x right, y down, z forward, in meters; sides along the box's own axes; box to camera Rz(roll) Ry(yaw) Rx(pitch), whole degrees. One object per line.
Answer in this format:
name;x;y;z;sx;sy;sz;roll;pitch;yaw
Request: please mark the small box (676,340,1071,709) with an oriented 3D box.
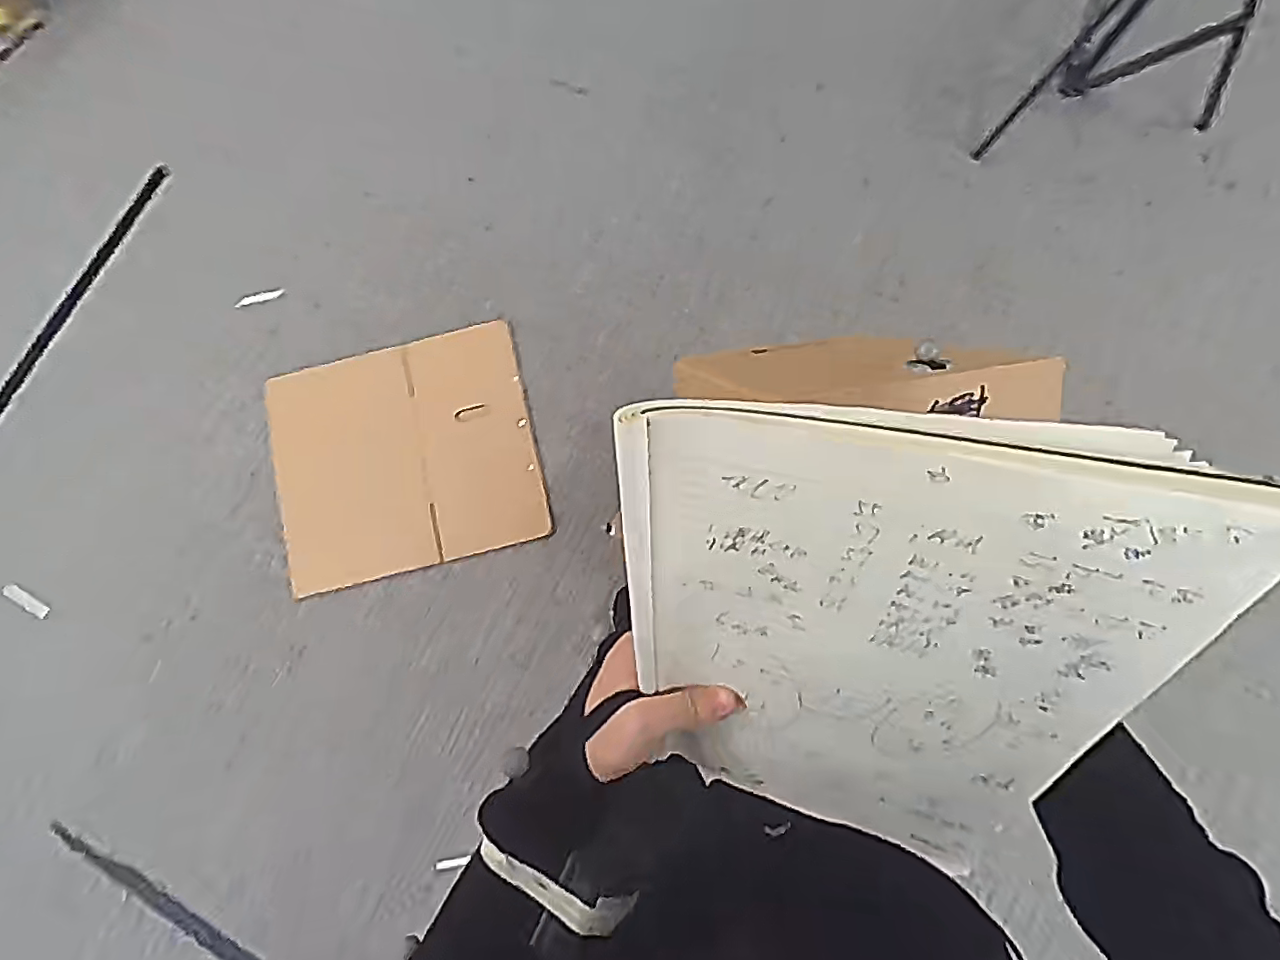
small box;0.127;0.011;0.361;0.168;0.176;0.179;-10;111;-9
